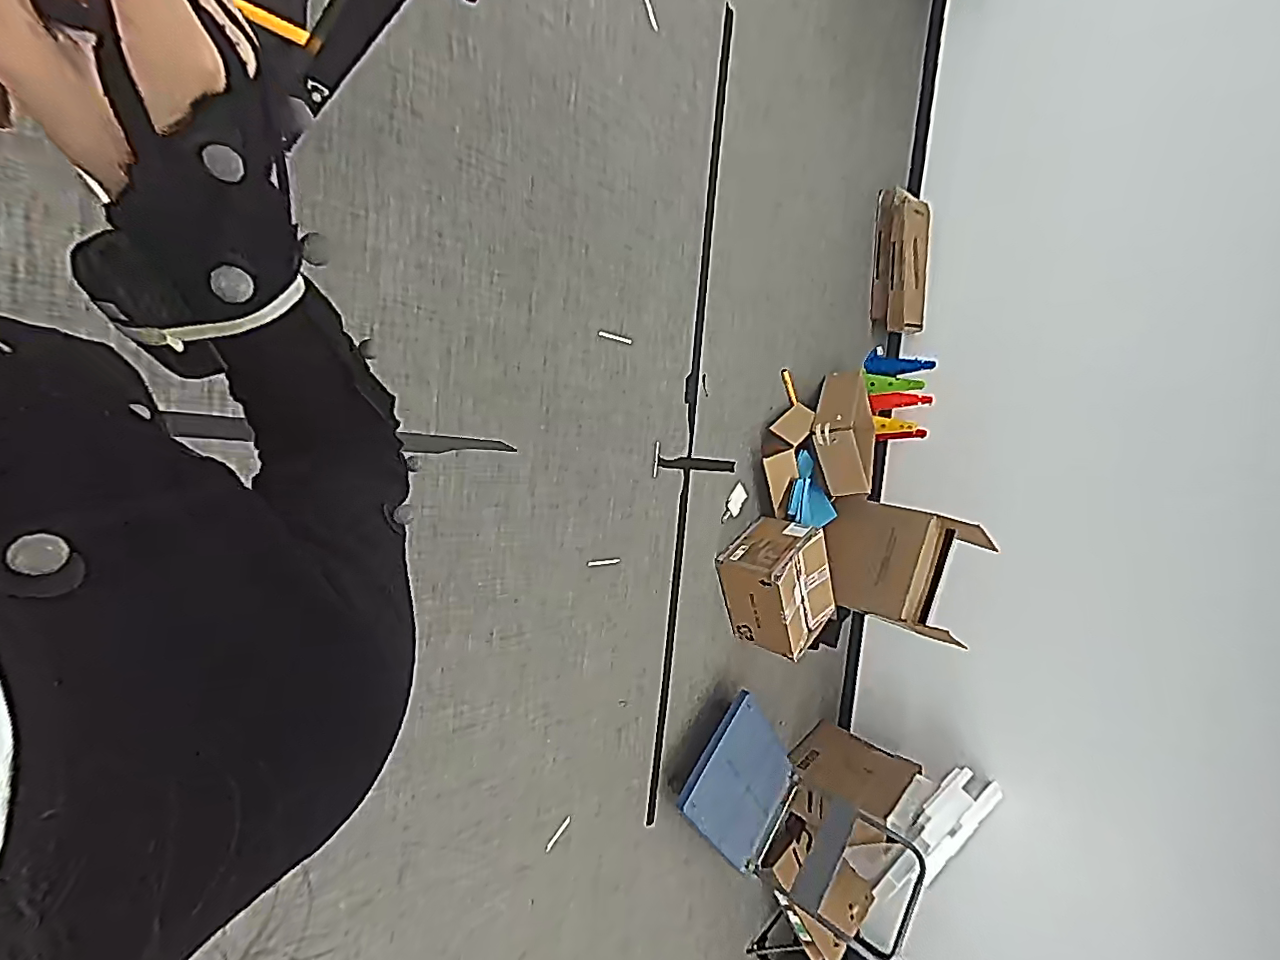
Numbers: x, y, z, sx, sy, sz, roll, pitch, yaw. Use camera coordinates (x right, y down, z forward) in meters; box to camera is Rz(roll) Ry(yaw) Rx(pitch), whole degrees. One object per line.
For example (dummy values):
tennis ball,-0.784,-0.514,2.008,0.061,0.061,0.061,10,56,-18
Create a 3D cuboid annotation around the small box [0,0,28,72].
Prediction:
small box,-0.284,-0.248,0.132,0.179,0.176,0.168,-3,79,-46
